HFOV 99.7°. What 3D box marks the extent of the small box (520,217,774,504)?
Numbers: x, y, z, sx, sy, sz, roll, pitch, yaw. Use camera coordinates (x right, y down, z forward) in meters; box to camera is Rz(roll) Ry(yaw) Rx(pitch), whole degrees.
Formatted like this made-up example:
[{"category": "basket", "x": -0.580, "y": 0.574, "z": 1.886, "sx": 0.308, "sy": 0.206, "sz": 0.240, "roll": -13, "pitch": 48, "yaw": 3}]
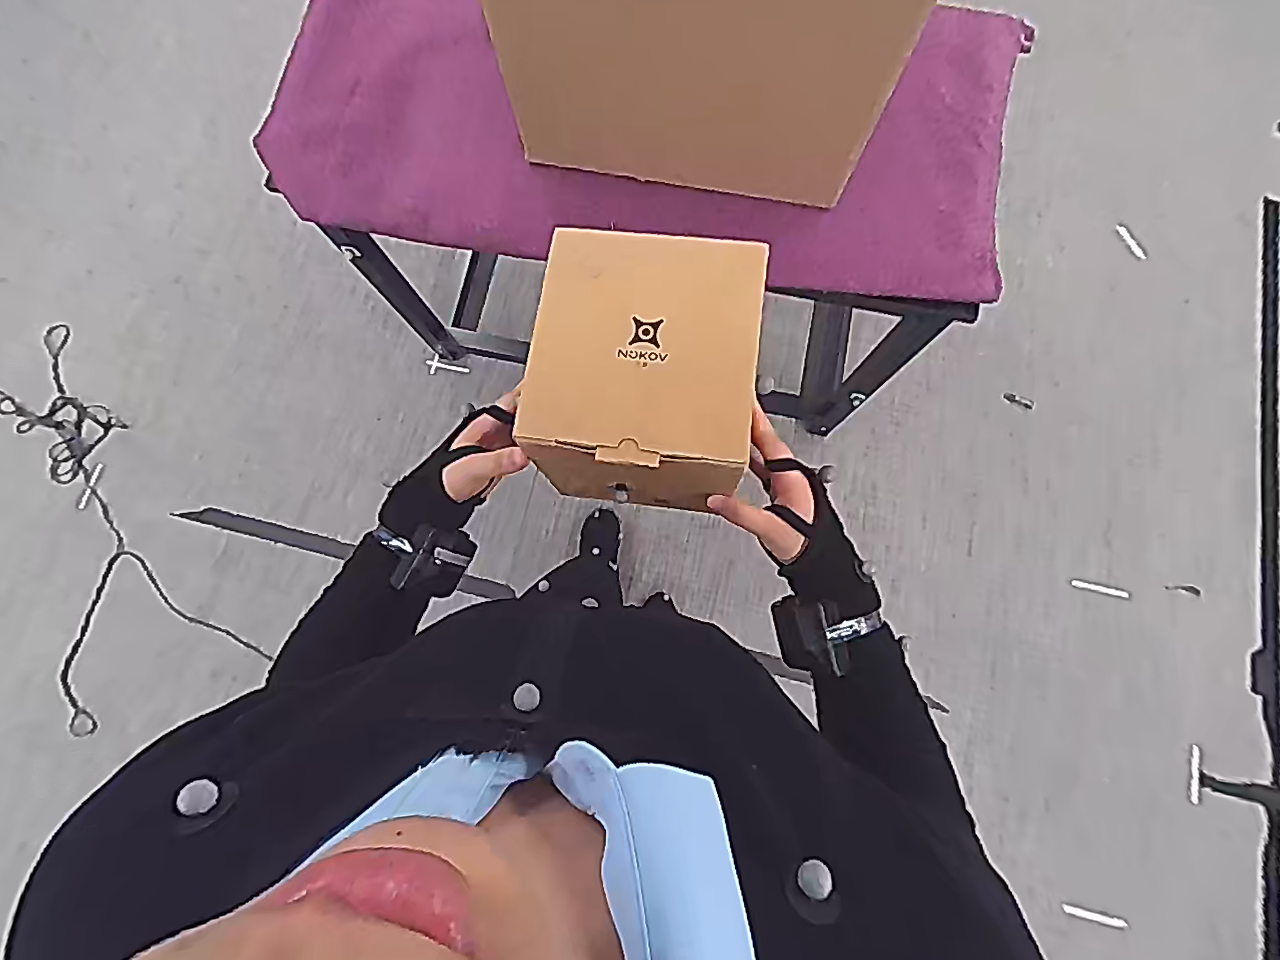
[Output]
[{"category": "small box", "x": 0.011, "y": -0.089, "z": 0.463, "sx": 0.168, "sy": 0.176, "sz": 0.179, "roll": 7, "pitch": 76, "yaw": 5}]
